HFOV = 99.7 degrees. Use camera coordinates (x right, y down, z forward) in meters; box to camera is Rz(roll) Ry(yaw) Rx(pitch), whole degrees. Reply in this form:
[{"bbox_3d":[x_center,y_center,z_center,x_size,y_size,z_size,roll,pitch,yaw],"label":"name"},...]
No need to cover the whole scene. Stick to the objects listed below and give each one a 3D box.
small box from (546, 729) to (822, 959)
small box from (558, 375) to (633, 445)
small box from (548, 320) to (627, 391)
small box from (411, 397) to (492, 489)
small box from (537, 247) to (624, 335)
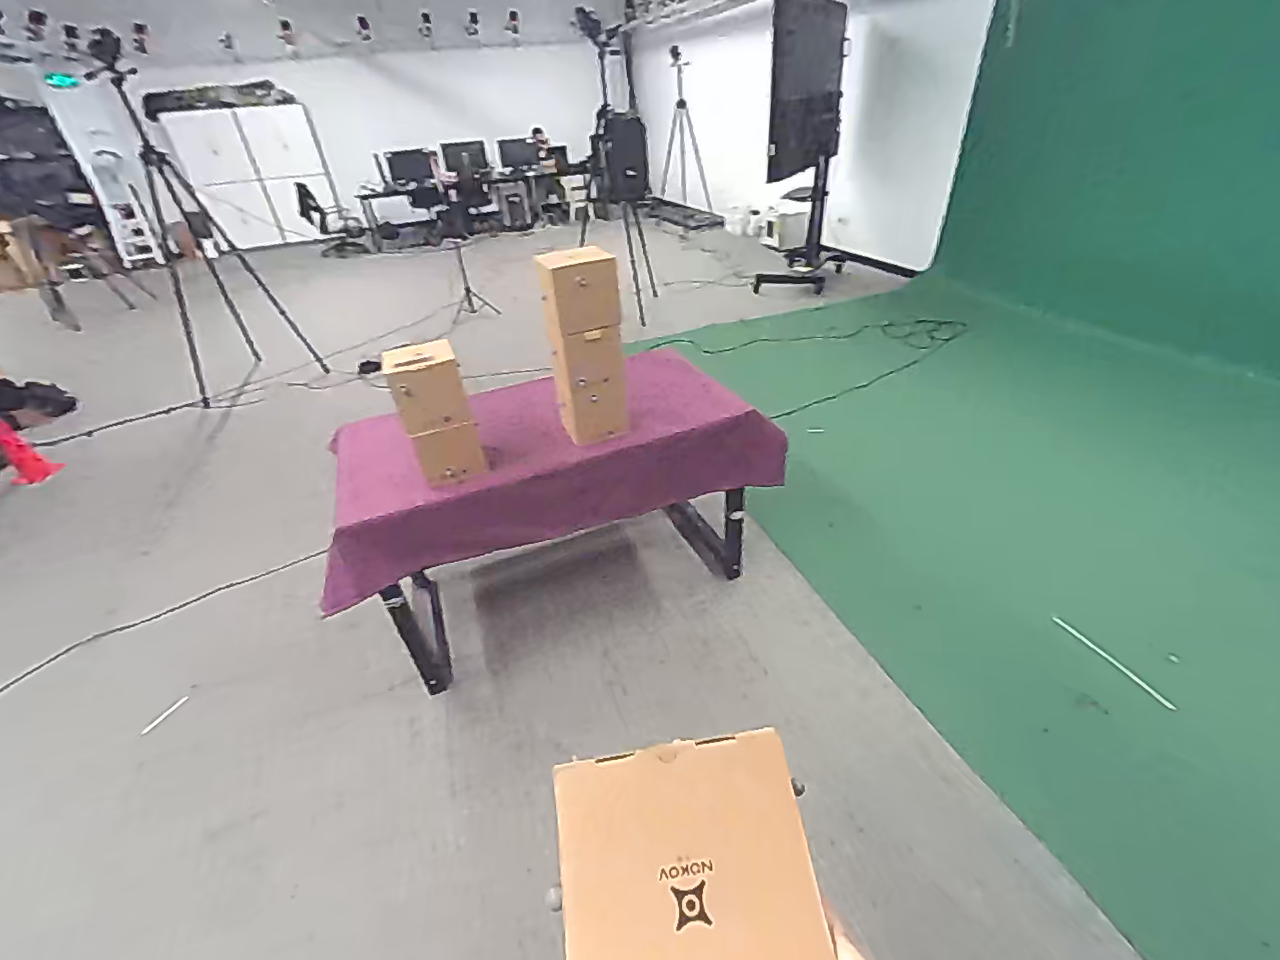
[{"bbox_3d":[0.030,0.307,0.420,0.168,0.176,0.179,-10,59,-3],"label":"small box"},{"bbox_3d":[-0.131,-0.225,1.602,0.168,0.176,0.179,-18,36,-15],"label":"small box"},{"bbox_3d":[-0.143,-0.360,1.509,0.168,0.176,0.179,-18,36,-17],"label":"small box"},{"bbox_3d":[-0.515,-0.102,1.482,0.168,0.176,0.179,-17,37,-15],"label":"small box"},{"bbox_3d":[-0.153,-0.492,1.411,0.179,0.176,0.168,-17,38,-16],"label":"small box"}]
